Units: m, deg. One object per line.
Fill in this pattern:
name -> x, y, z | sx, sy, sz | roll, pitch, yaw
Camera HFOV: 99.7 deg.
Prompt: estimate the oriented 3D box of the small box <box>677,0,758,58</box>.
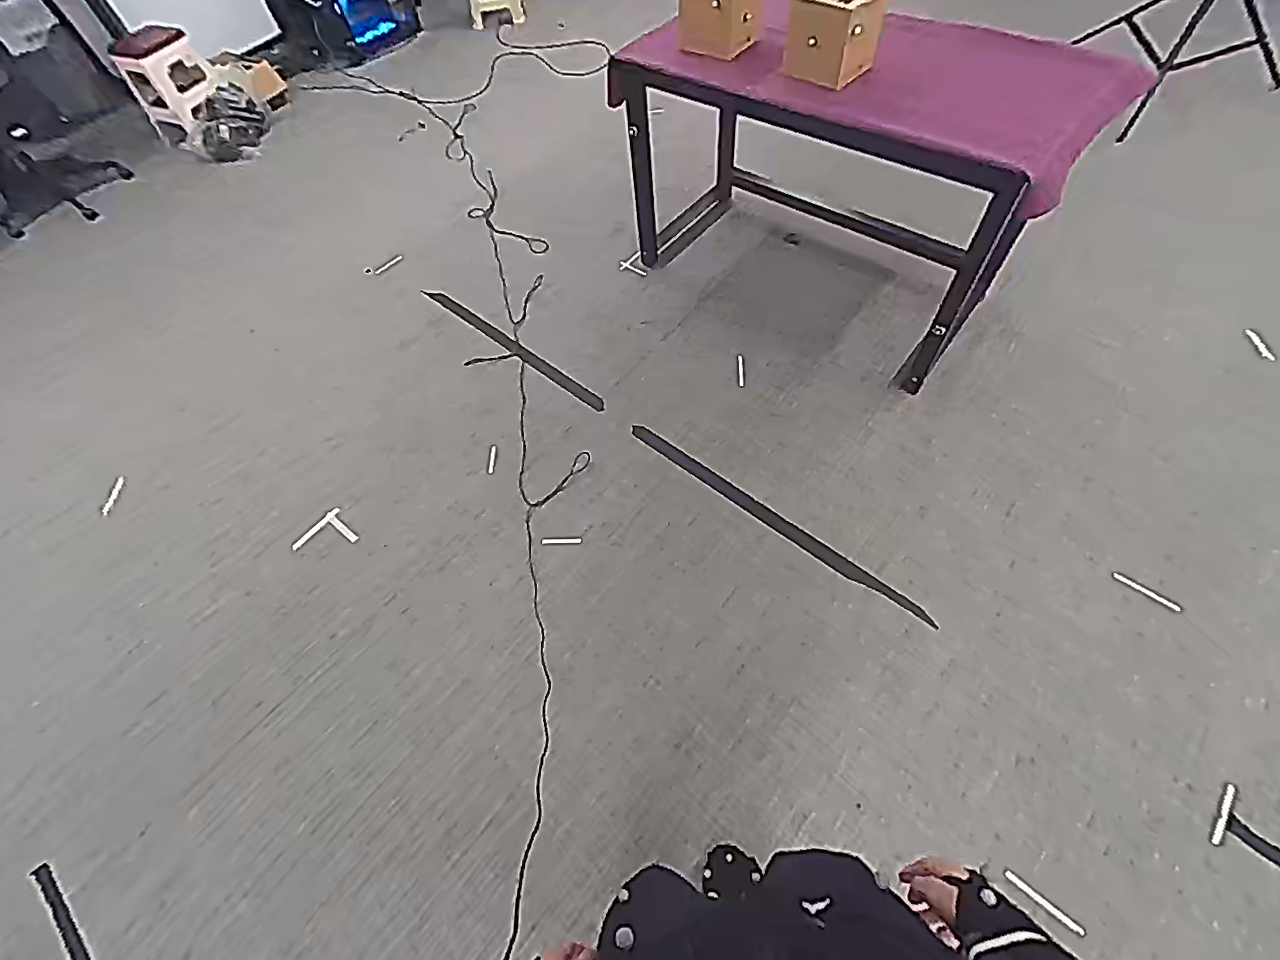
small box -> 0.220, -1.317, 1.510 | 0.179, 0.176, 0.168 | 32, 65, 22
